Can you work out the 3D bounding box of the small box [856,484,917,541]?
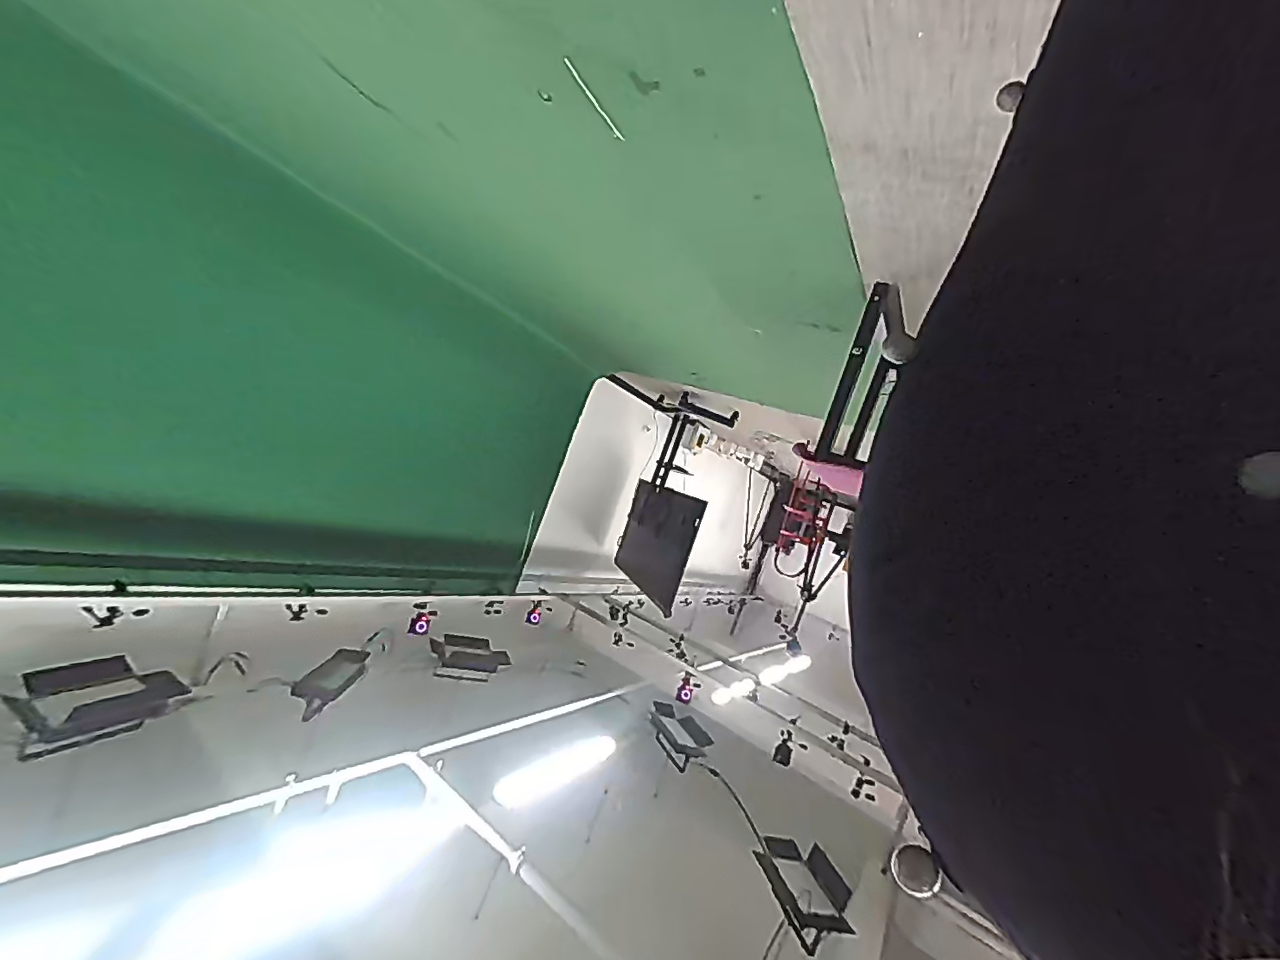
[{"bbox_3d":[0.941,0.124,2.064,0.168,0.176,0.179,22,-179,26],"label":"small box"}]
